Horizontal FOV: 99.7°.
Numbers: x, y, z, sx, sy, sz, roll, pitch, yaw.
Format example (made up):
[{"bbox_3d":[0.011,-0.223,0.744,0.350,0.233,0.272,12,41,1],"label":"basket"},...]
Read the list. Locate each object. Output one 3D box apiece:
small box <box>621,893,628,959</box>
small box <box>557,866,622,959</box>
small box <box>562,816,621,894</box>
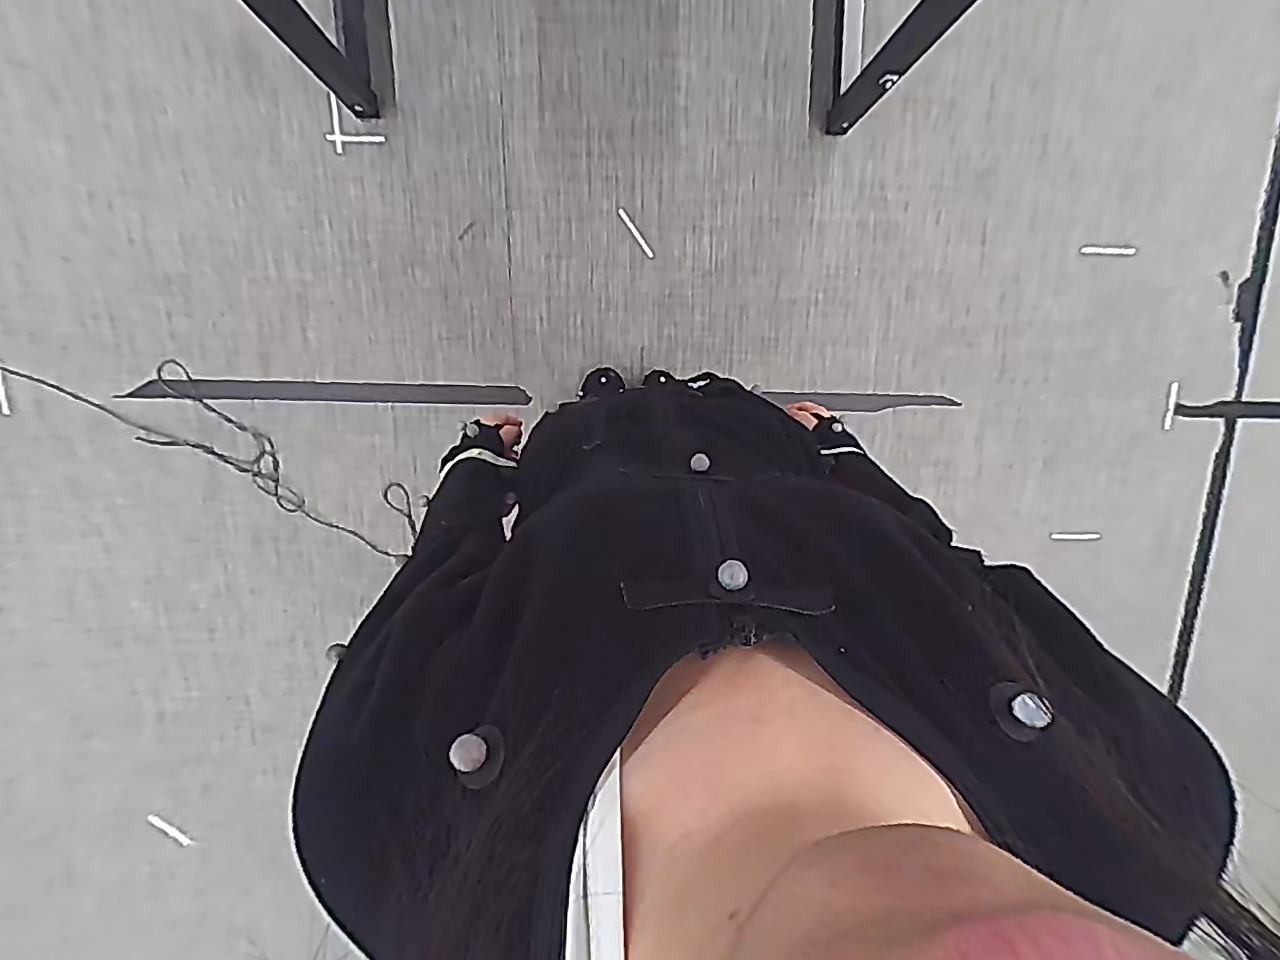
[{"bbox_3d":[-0.128,1.417,1.683,0.168,0.176,0.179,-7,101,-2],"label":"small box"},{"bbox_3d":[-0.137,1.187,1.468,0.168,0.176,0.179,1,102,-4],"label":"small box"},{"bbox_3d":[-0.145,1.142,1.626,0.168,0.176,0.179,-2,102,-3],"label":"small box"}]
